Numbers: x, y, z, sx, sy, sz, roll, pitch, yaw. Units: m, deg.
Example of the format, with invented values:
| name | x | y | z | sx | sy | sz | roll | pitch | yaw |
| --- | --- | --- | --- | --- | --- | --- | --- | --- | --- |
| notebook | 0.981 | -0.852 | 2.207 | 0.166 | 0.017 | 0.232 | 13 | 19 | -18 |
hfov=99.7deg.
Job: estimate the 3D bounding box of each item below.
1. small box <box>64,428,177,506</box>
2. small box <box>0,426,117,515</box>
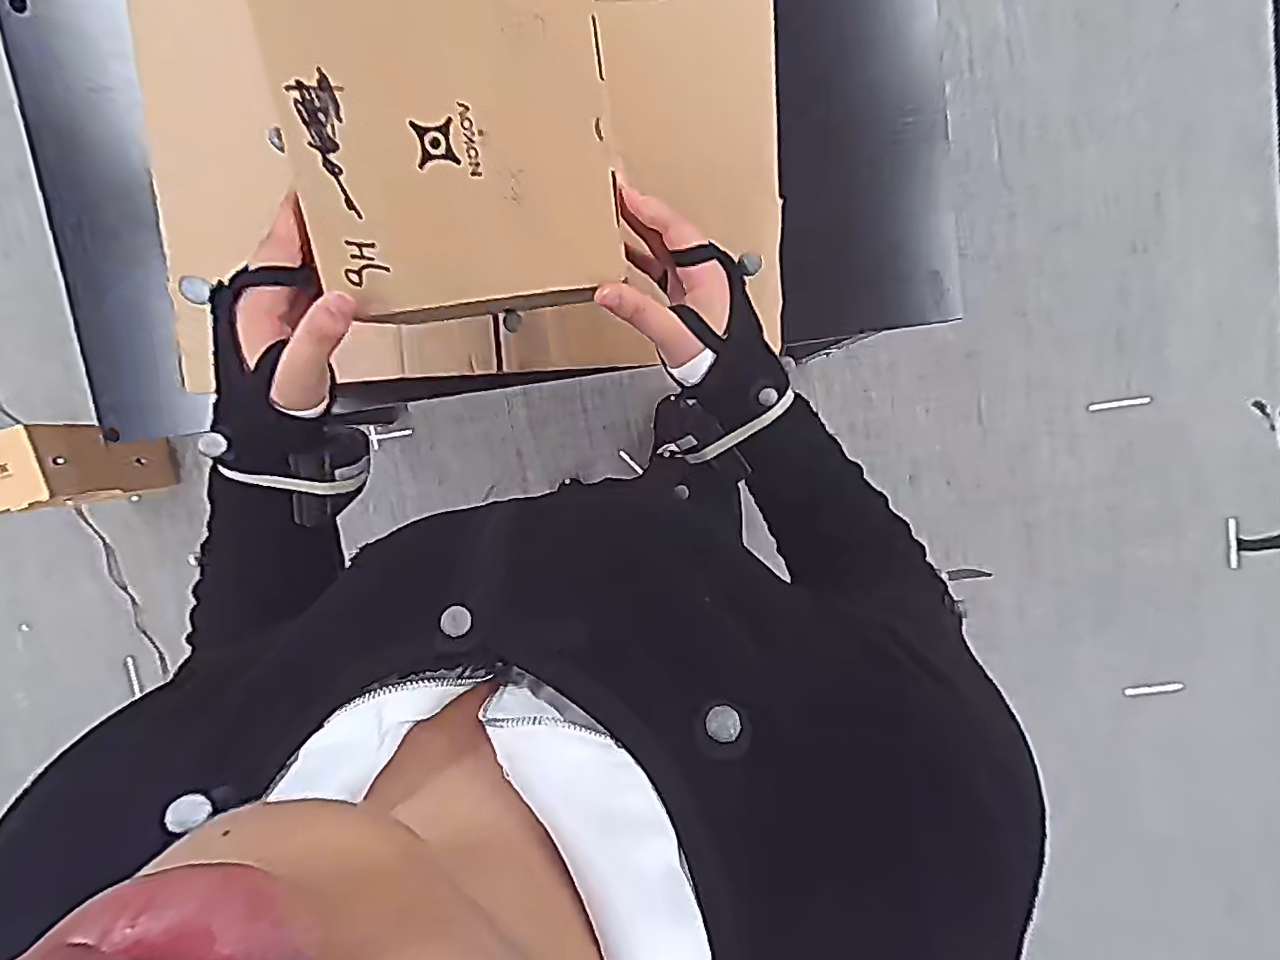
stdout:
| name | x | y | z | sx | sy | sz | roll | pitch | yaw |
| --- | --- | --- | --- | --- | --- | --- | --- | --- | --- |
| small box | -1.409 | -0.039 | 1.450 | 0.168 | 0.176 | 0.179 | -12 | 96 | 3 |
| small box | -1.416 | -0.028 | 1.288 | 0.168 | 0.176 | 0.179 | -15 | 95 | 3 |
